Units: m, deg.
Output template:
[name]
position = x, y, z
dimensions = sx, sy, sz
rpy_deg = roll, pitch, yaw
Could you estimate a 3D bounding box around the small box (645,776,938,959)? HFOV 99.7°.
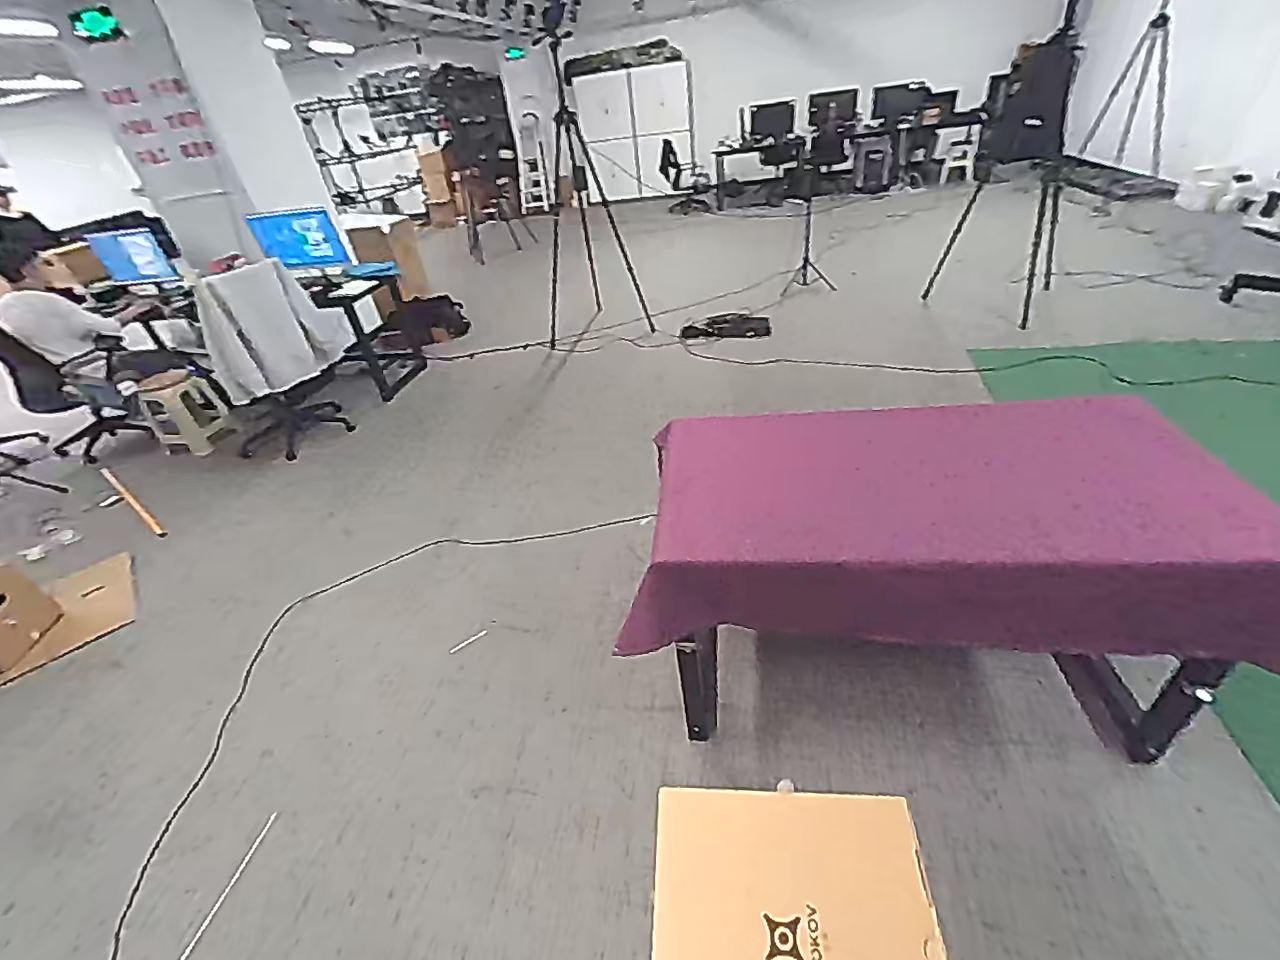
[small box]
position = 0.105, 0.332, 0.394
dimensions = 0.179, 0.176, 0.168
rpy_deg = -4, 46, 10
